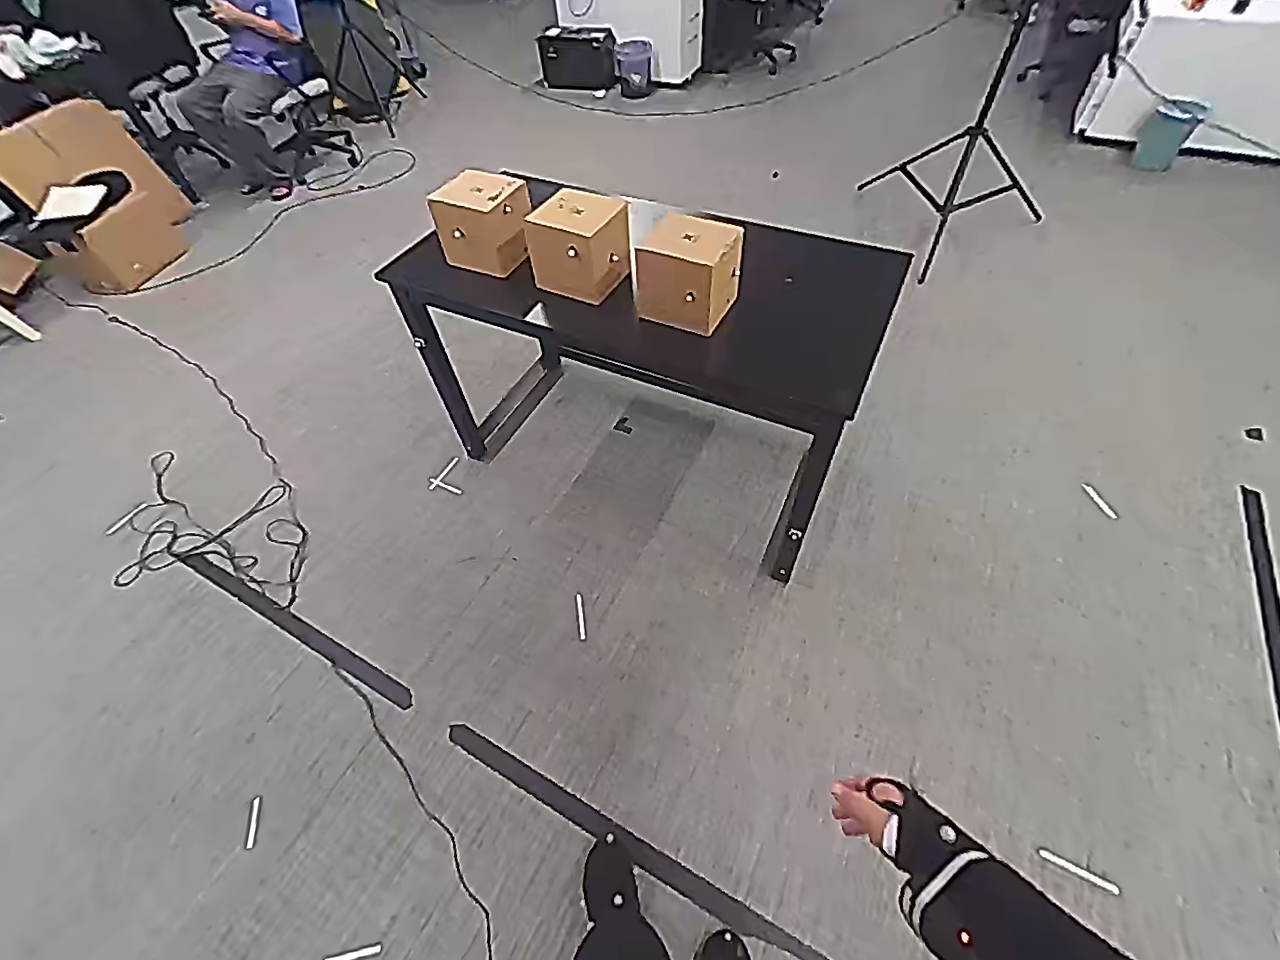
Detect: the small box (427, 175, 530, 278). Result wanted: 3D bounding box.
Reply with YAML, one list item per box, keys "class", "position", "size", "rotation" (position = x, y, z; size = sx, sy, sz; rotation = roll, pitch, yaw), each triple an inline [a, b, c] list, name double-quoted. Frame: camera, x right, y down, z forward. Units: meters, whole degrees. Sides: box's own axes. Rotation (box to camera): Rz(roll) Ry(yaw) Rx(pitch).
- class: "small box"
  position: [-0.384, -0.625, 1.340]
  size: [0.179, 0.176, 0.168]
  rotation: [19, 56, 17]

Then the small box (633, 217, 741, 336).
- class: "small box"
  position: [0.101, -0.437, 1.171]
  size: [0.179, 0.176, 0.168]
  rotation: [20, 55, 19]

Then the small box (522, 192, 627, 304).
- class: "small box"
  position: [-0.141, -0.534, 1.255]
  size: [0.179, 0.176, 0.168]
  rotation: [22, 56, 19]
